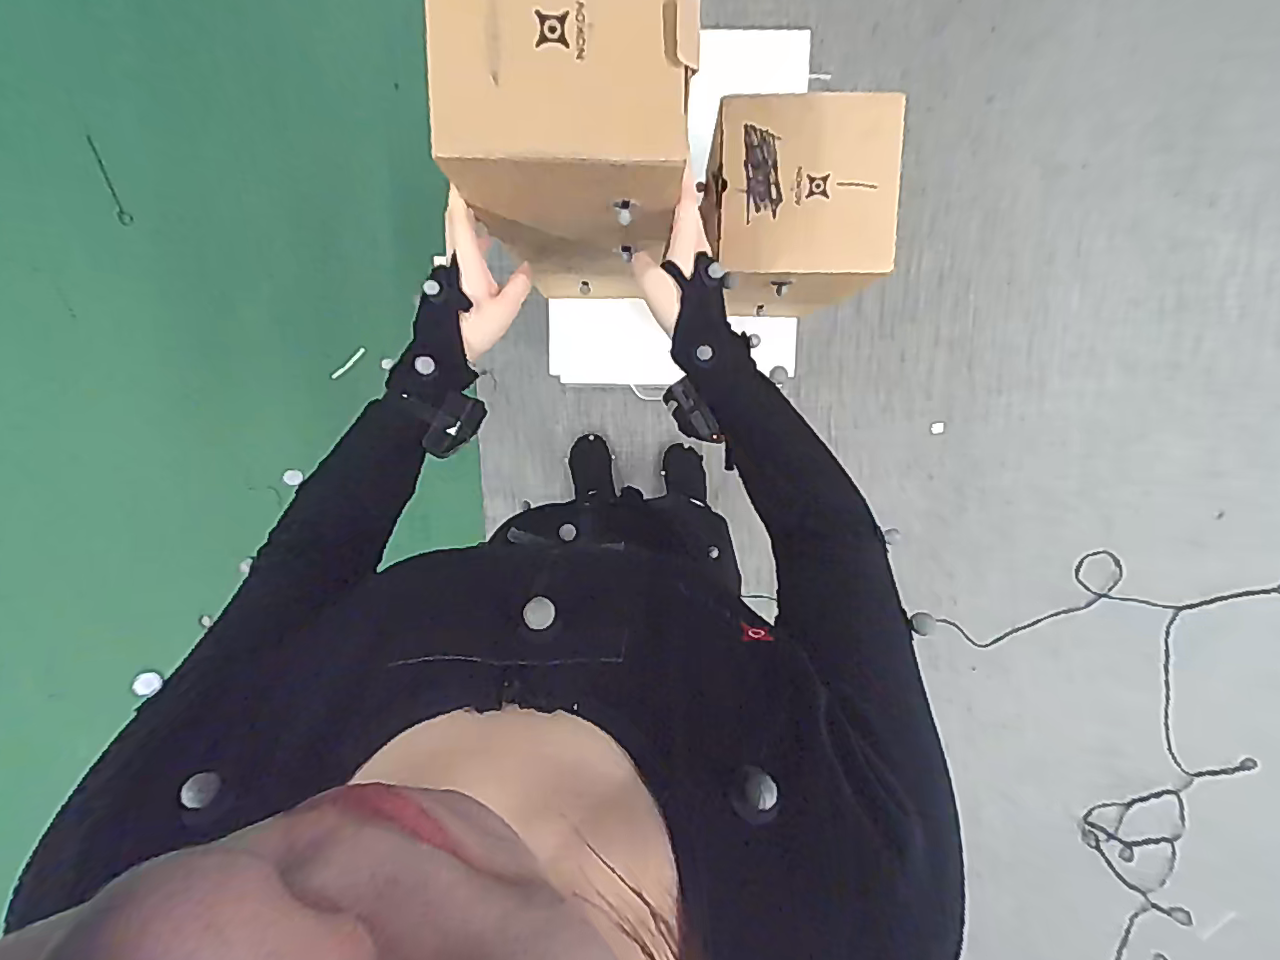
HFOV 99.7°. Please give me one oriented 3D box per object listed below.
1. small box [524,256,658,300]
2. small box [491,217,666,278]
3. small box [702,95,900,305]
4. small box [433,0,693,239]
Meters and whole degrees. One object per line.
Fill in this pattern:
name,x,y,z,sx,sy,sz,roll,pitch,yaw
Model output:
small box,-0.065,-0.356,0.767,0.179,0.176,0.168,-1,97,-2
small box,-0.062,-0.332,0.605,0.179,0.176,0.168,1,97,-3
small box,0.164,-0.298,0.609,0.179,0.176,0.168,1,97,0
small box,-0.055,-0.311,0.444,0.179,0.176,0.168,-1,96,-2
